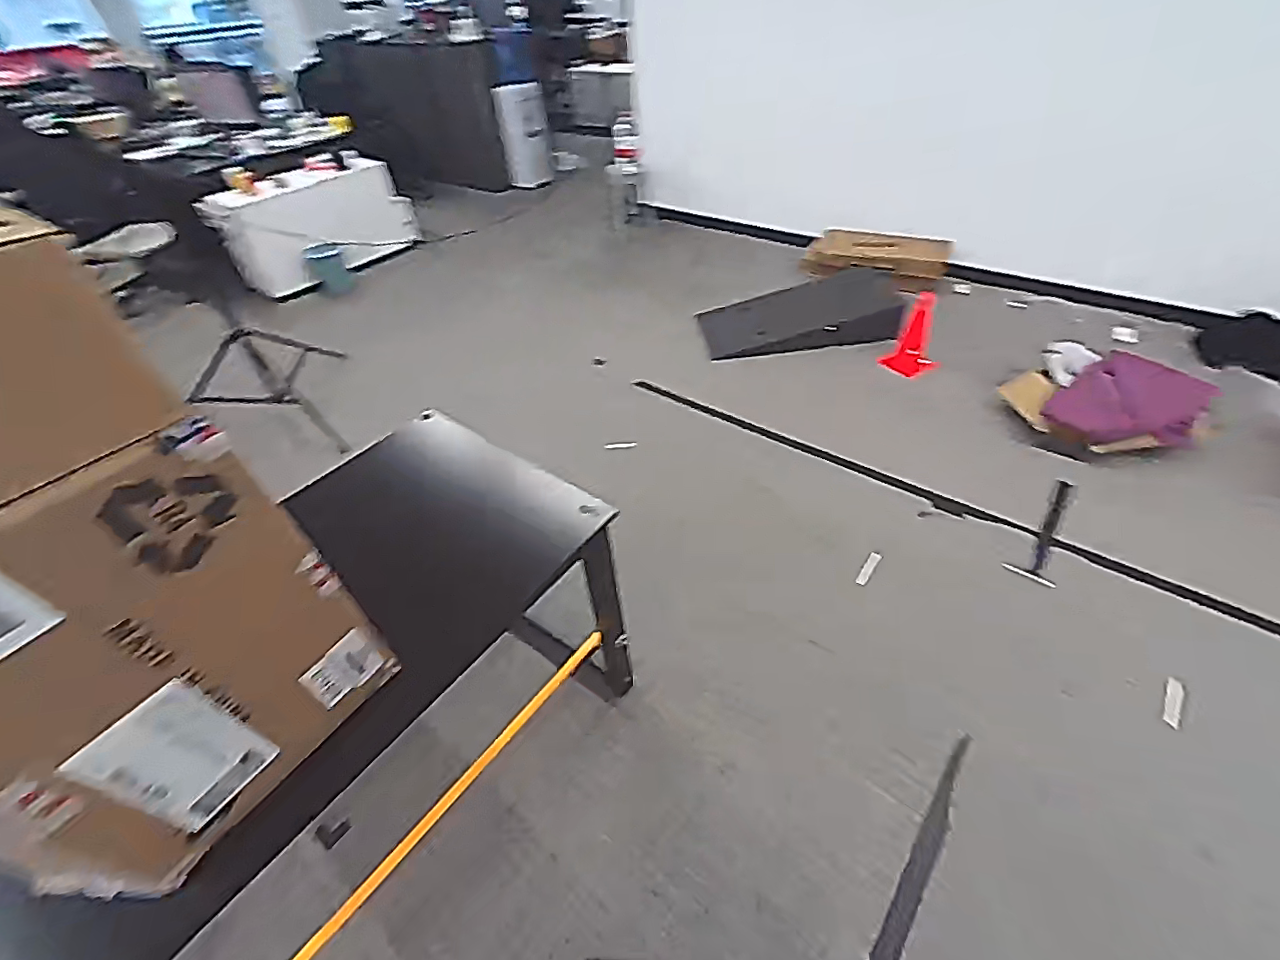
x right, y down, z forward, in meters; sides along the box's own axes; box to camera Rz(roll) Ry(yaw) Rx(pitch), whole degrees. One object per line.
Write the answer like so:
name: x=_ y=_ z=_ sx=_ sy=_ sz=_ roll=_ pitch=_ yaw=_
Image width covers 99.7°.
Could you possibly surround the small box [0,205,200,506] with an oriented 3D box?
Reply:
small box: x=-0.531 y=-0.103 z=0.447 sx=0.168 sy=0.176 sz=0.179 roll=25 pitch=51 yaw=25
